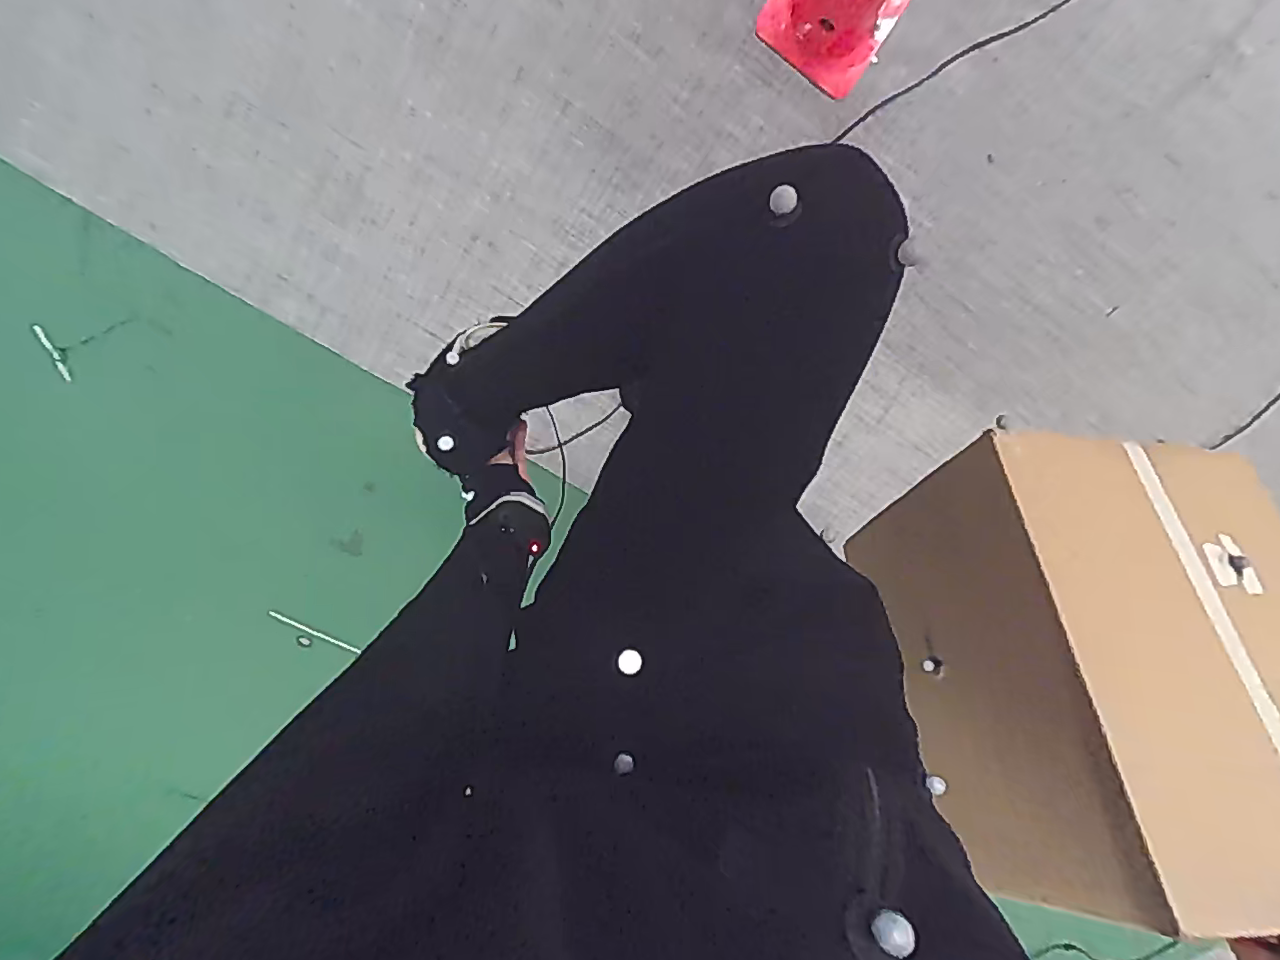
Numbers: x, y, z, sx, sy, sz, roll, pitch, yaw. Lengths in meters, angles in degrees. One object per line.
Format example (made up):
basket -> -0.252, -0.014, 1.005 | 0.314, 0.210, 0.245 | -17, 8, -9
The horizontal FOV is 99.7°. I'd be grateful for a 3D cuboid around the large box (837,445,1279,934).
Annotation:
large box -> 0.465, 0.219, 0.611 | 0.320, 0.408, 0.320 | 5, 150, -9
